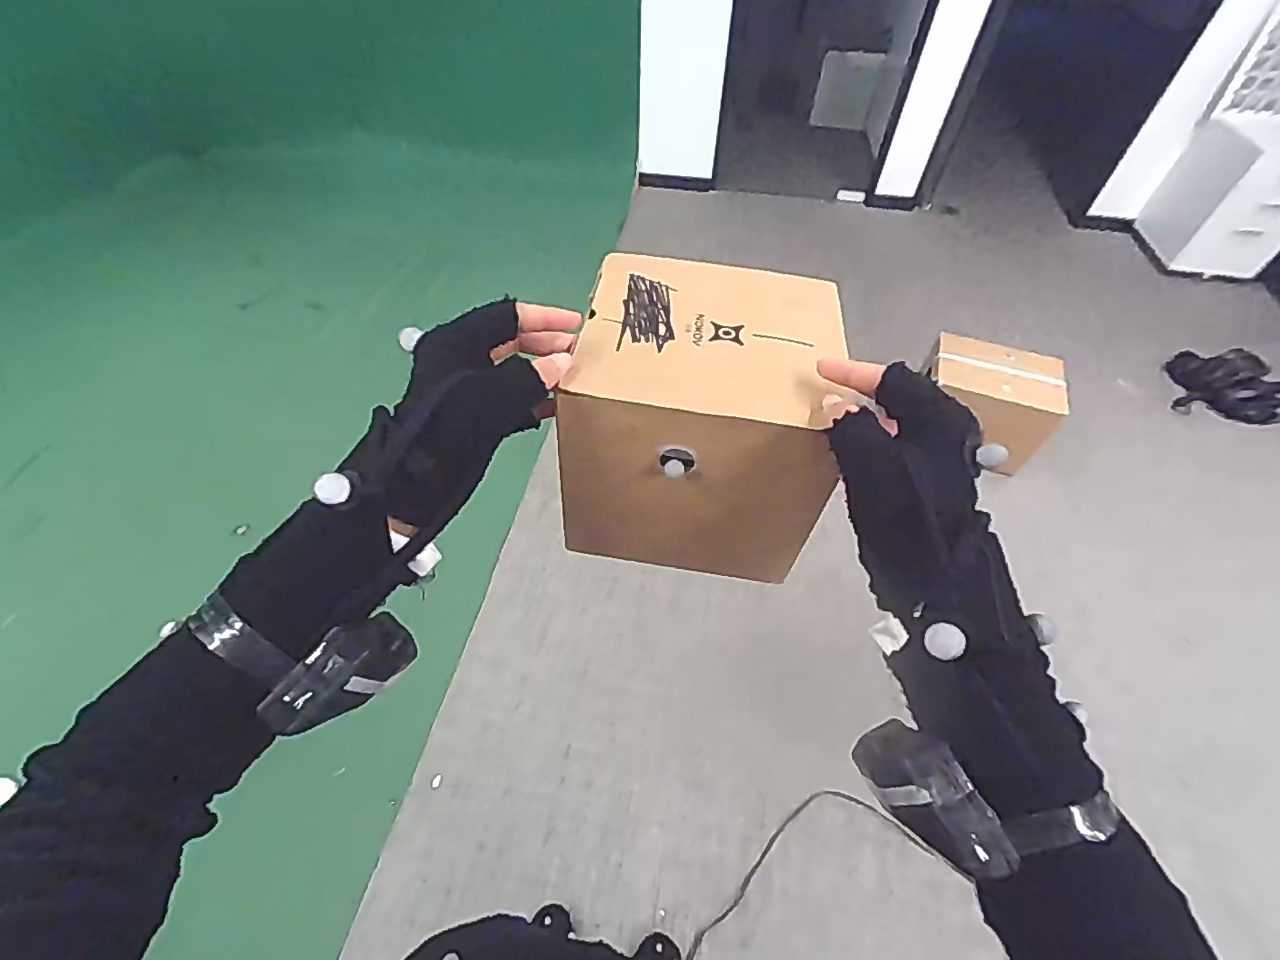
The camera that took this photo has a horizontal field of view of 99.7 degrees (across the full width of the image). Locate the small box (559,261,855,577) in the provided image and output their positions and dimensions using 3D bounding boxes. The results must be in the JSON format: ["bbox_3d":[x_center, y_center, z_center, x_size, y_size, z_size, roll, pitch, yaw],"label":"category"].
[{"bbox_3d":[0.043,-0.043,0.421,0.179,0.176,0.168,9,50,2],"label":"small box"}]
